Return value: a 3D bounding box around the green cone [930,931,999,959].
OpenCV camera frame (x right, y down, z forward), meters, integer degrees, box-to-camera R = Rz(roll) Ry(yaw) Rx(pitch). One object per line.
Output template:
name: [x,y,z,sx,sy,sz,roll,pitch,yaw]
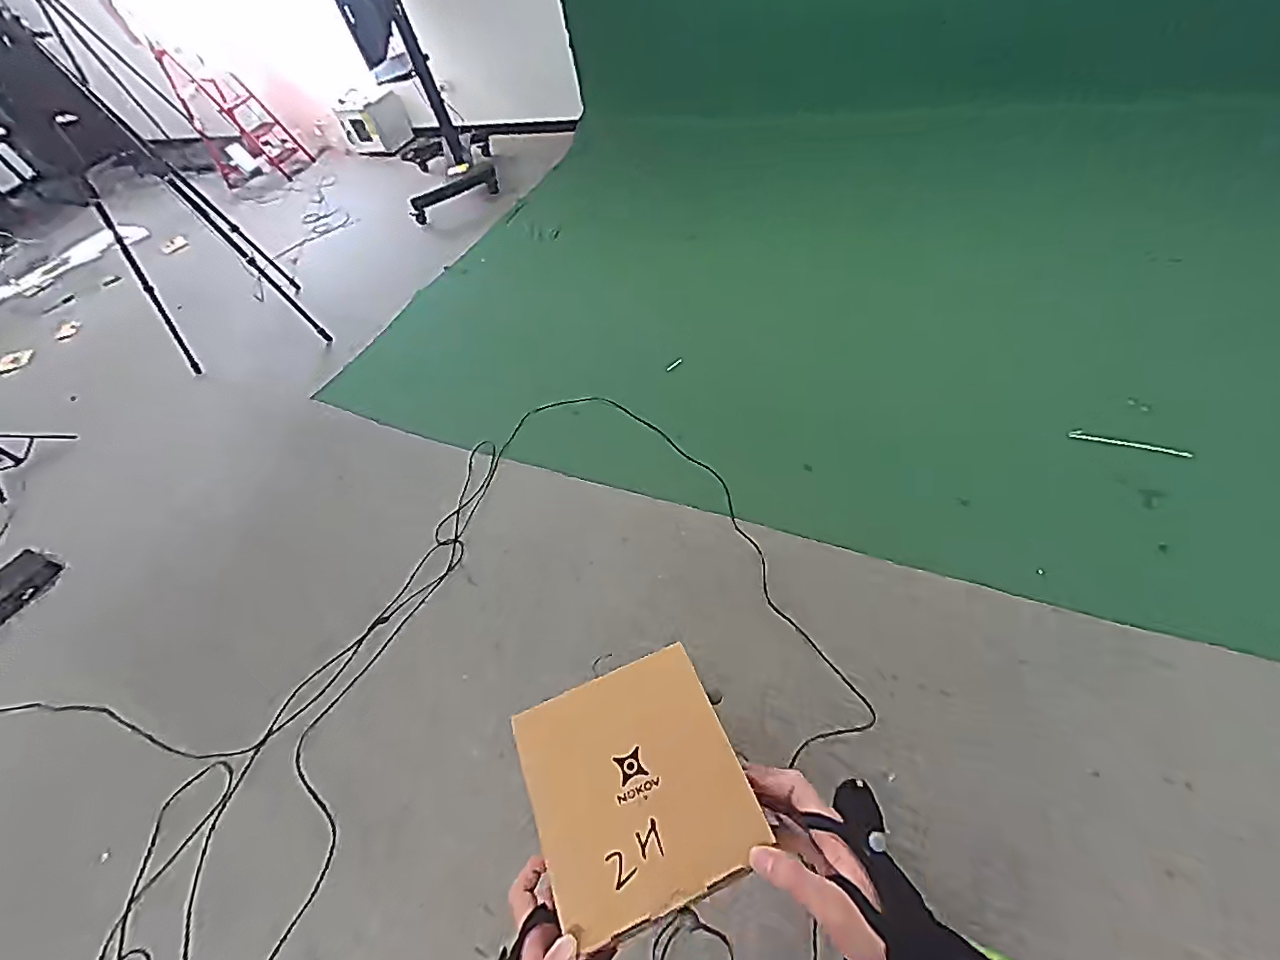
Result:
green cone: [0.626,0.923,0.909,0.202,0.368,0.200,15,57,25]
